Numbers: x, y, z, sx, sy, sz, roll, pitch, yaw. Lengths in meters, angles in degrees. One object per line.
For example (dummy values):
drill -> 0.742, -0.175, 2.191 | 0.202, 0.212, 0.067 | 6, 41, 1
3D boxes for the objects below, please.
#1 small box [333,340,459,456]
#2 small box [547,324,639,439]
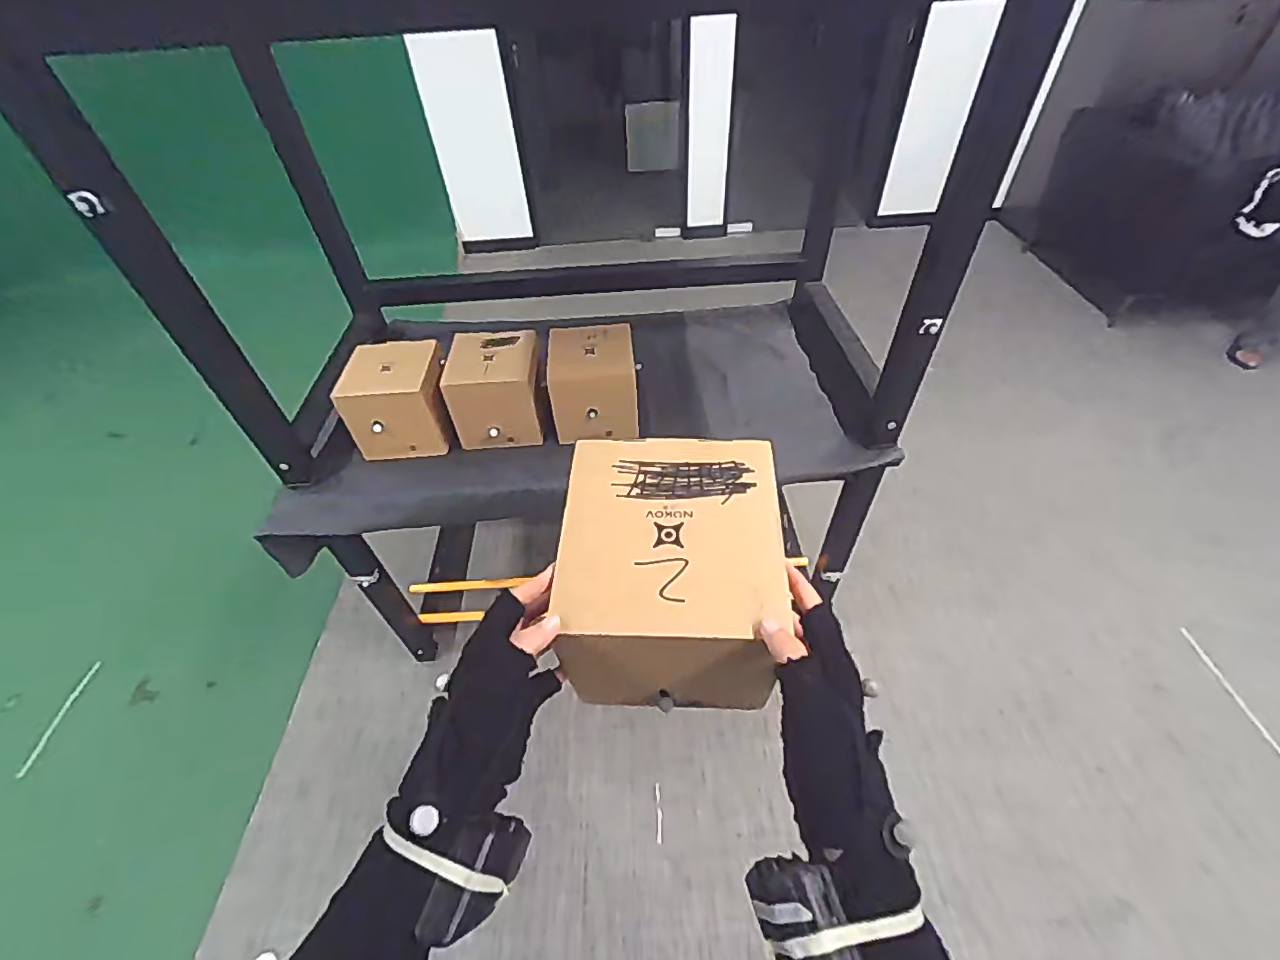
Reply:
small box -> -0.480, -0.160, 1.097 | 0.168, 0.176, 0.179 | -4, 46, -1
small box -> -0.091, -0.195, 1.106 | 0.168, 0.176, 0.179 | -4, 46, -1
